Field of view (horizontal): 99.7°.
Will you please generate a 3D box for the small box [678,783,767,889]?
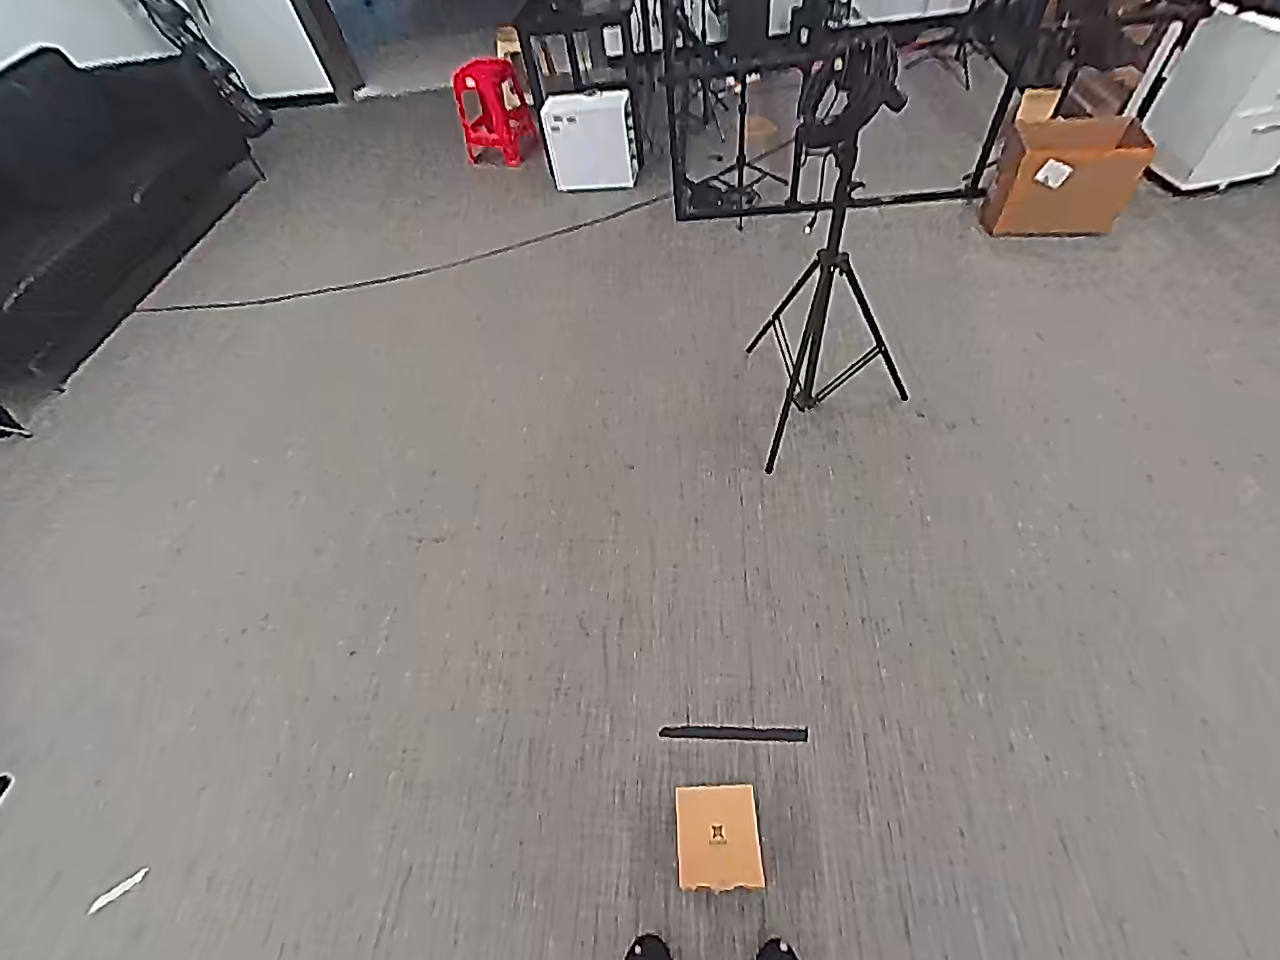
[{"bbox_3d":[0.169,0.759,1.149,0.168,0.176,0.179,-5,54,5],"label":"small box"}]
